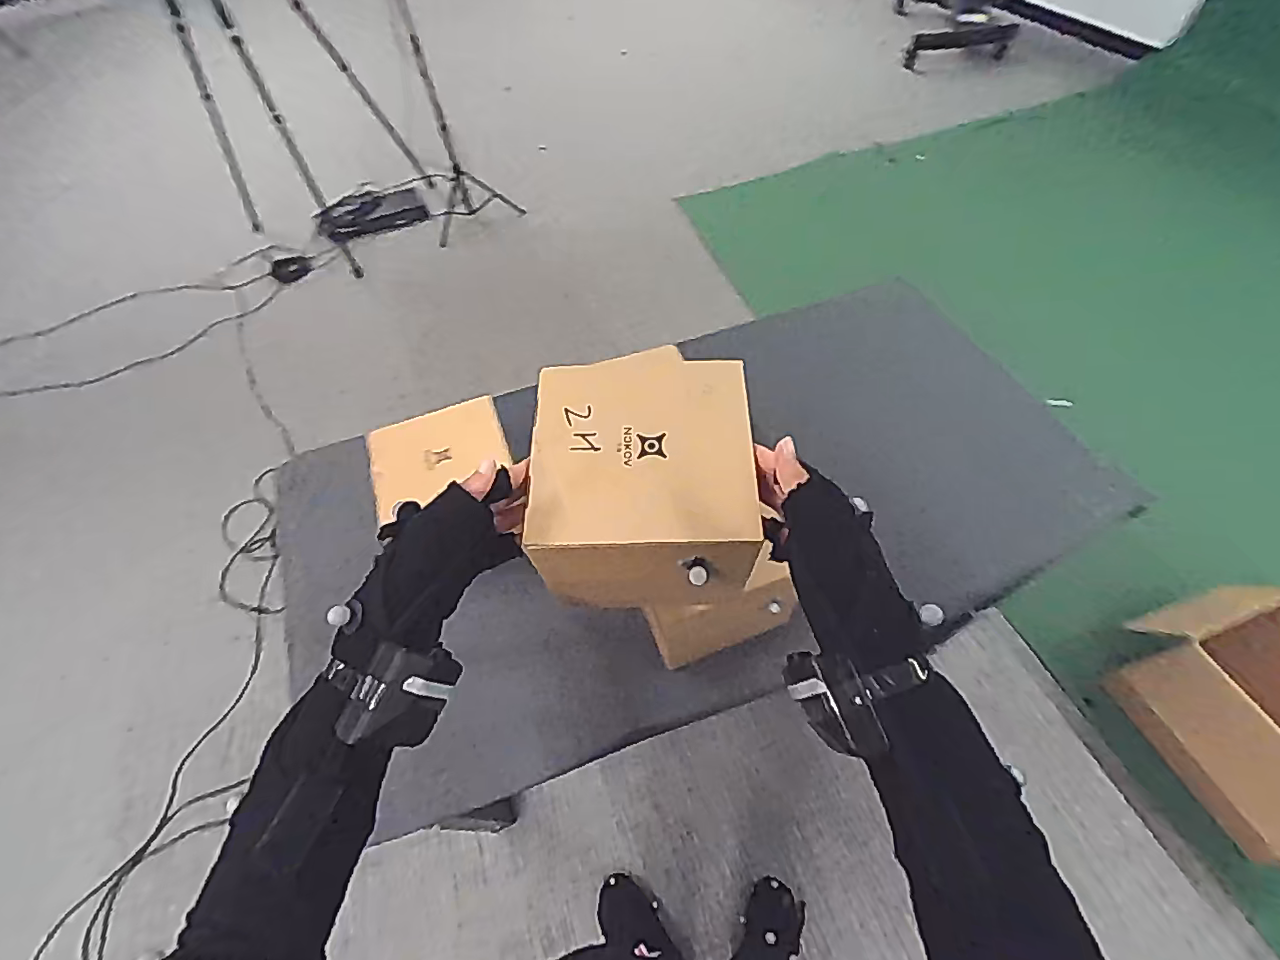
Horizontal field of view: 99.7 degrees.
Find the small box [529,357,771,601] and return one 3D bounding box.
[{"bbox_3d":[0.011,0.008,0.492,0.179,0.176,0.168,0,62,2],"label":"small box"}]
